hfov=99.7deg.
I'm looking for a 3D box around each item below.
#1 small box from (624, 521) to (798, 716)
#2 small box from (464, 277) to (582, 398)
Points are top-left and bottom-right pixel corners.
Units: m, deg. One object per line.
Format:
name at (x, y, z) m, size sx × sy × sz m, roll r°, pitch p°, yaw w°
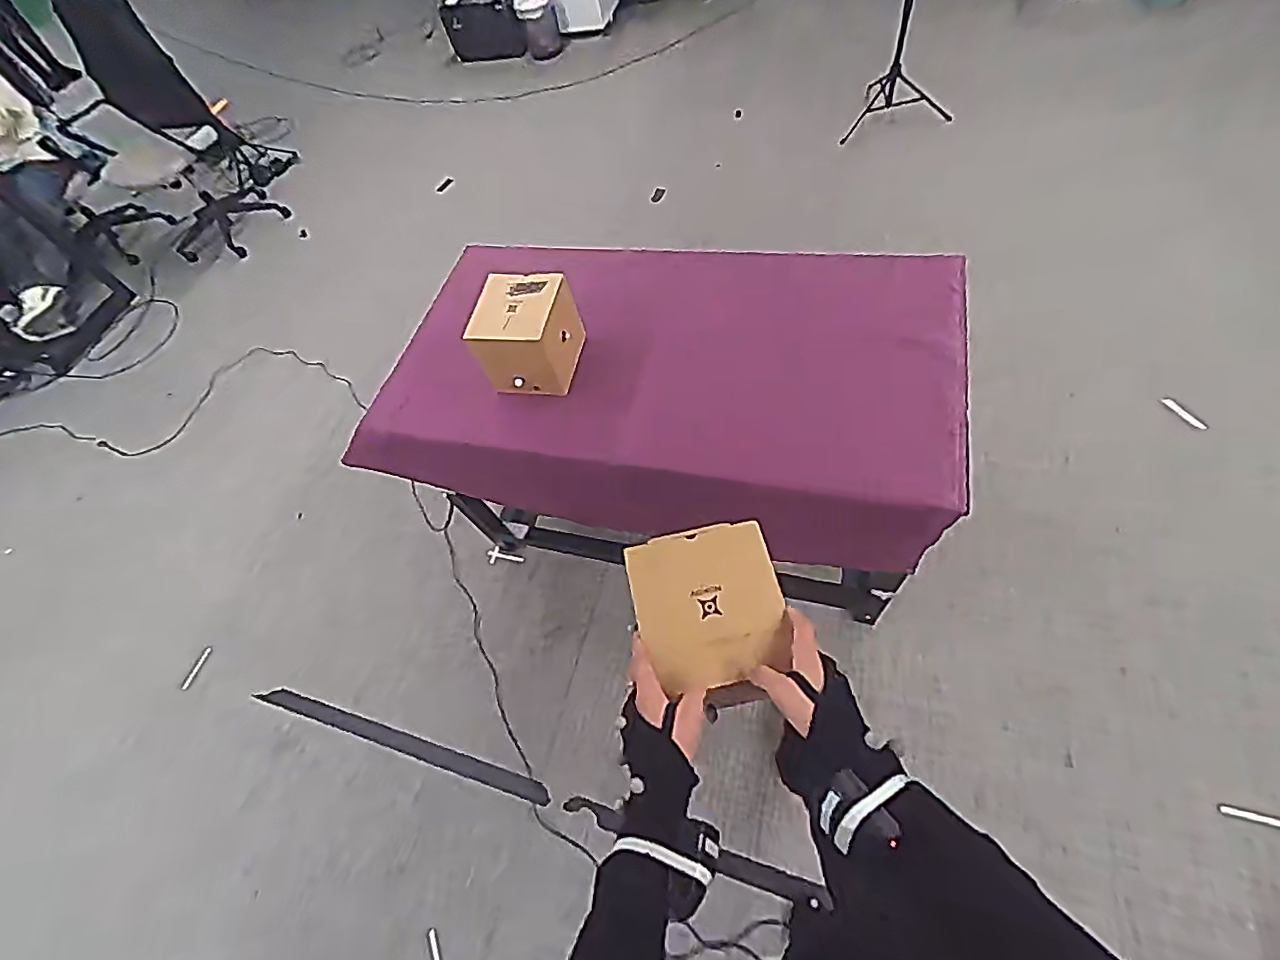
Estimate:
small box at (0.079, 0.178, 0.677) m, size 0.168 × 0.176 × 0.179 m, roll -12°, pitch 58°, yaw -2°
small box at (-0.231, -0.295, 1.121) m, size 0.168 × 0.176 × 0.179 m, roll 5°, pitch 62°, yaw 15°
